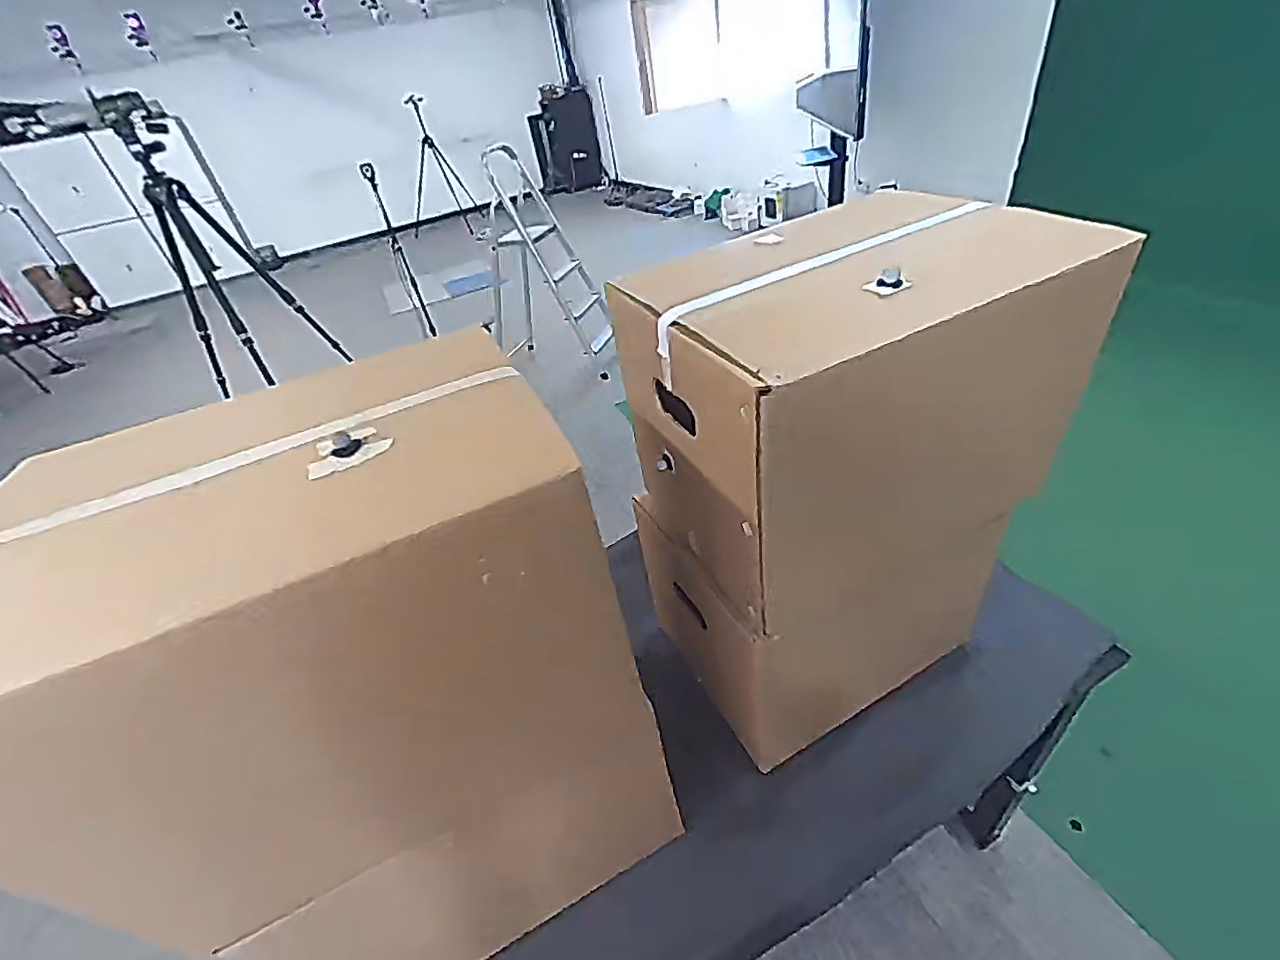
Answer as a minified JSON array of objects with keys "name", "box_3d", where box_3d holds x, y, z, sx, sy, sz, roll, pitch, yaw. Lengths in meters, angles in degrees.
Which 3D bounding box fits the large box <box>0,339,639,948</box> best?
[{"name":"large box","box_3d":[-0.256,0.110,0.502,0.408,0.320,0.320,-21,39,-16]}]
